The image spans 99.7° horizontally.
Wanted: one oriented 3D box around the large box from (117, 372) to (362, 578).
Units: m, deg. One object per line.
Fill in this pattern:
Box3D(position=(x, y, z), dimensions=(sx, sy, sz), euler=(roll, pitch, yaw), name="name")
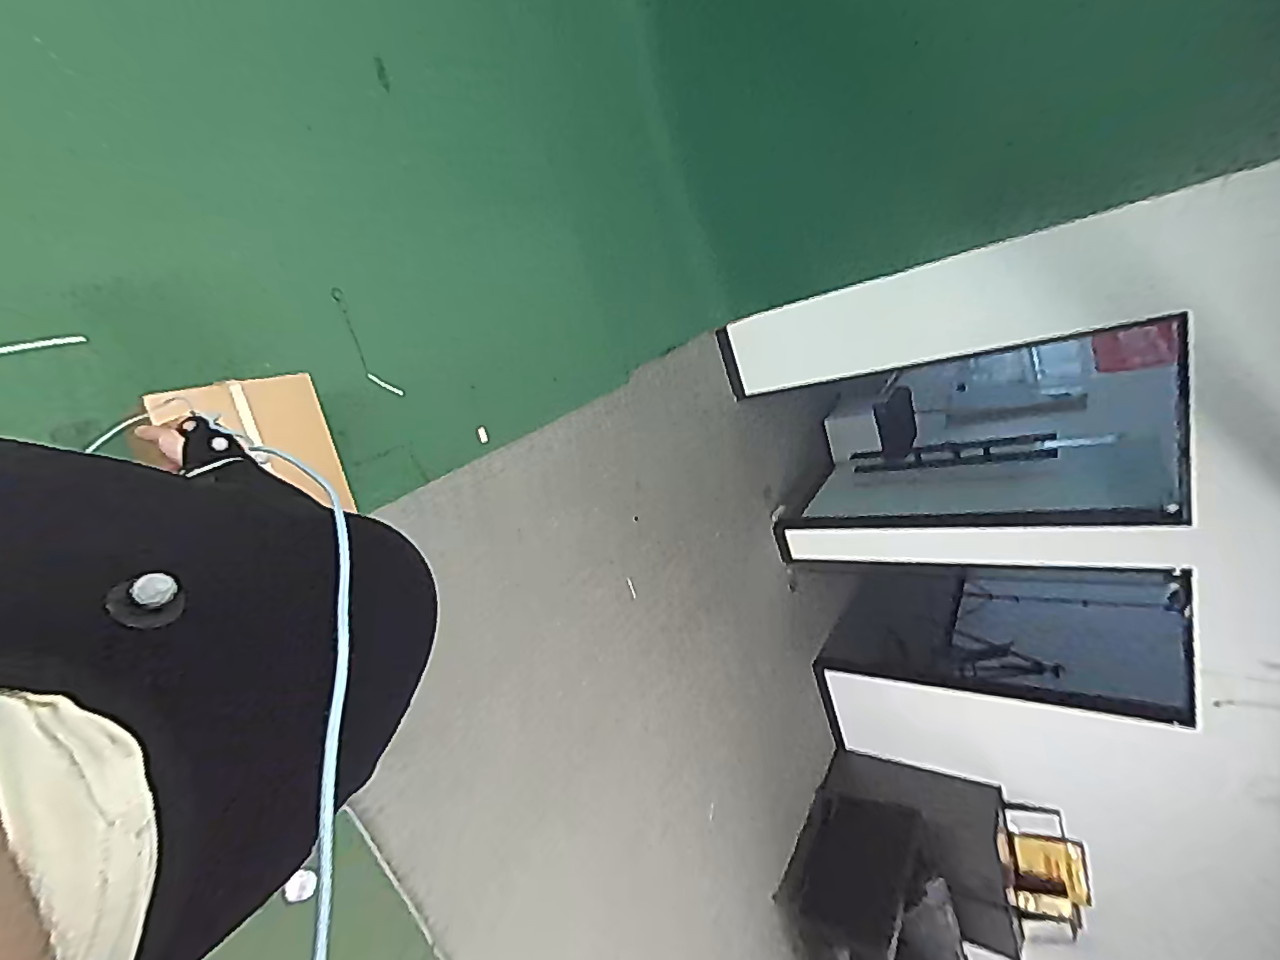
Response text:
Box3D(position=(-0.953, -0.016, 1.301), dimensions=(0.320, 0.320, 0.408), euler=(-27, 107, -48), name="large box")
